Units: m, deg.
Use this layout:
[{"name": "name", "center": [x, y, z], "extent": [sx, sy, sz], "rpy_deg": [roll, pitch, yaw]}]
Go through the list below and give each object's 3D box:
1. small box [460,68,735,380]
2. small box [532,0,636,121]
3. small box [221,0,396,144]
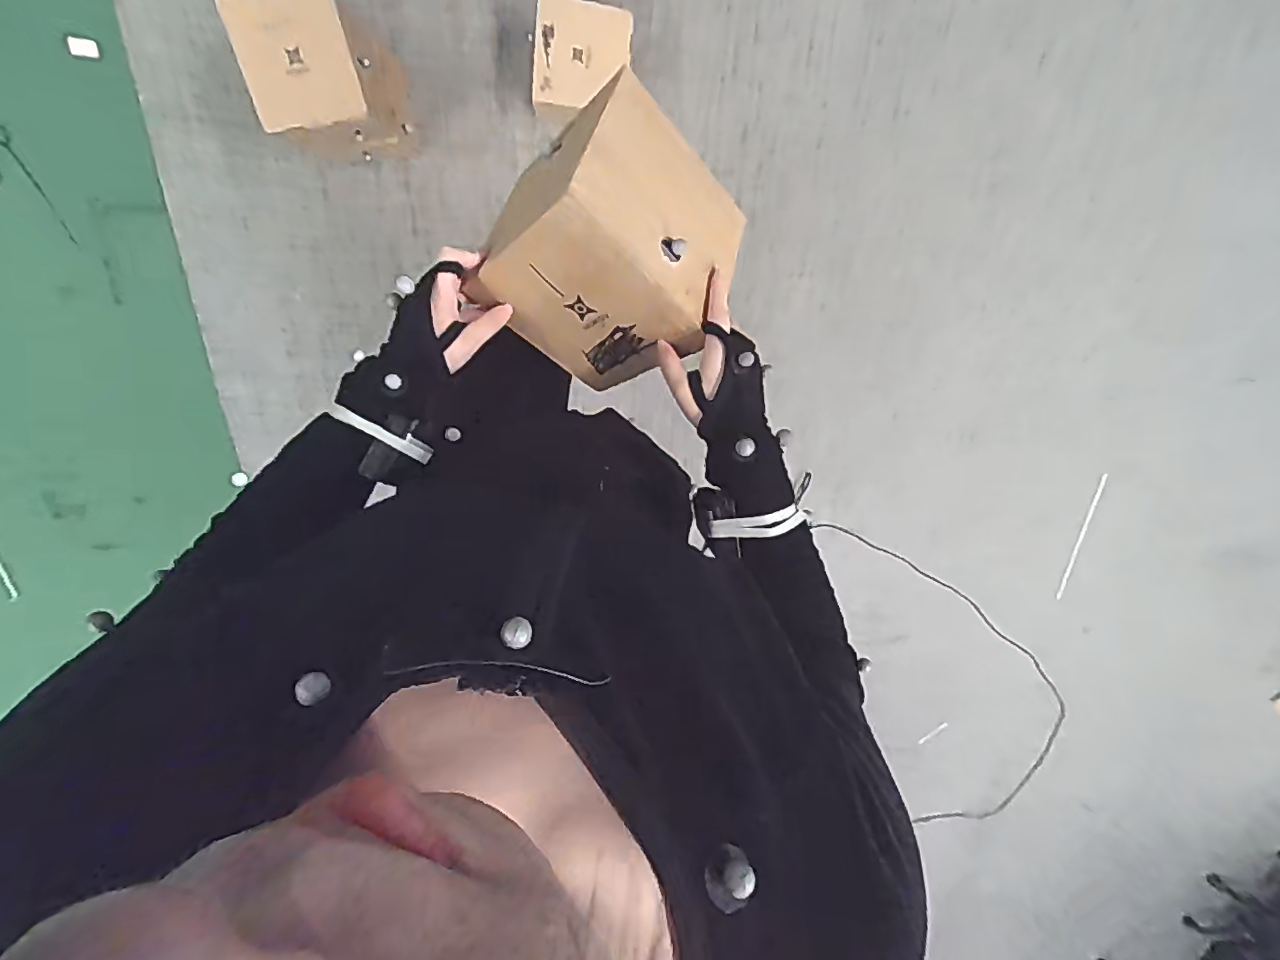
[{"name": "small box", "center": [-0.030, -0.230, 0.517], "extent": [0.168, 0.176, 0.179], "rpy_deg": [-13, 141, 45]}, {"name": "small box", "center": [-0.114, -0.811, 1.069], "extent": [0.179, 0.176, 0.168], "rpy_deg": [6, 112, -10]}, {"name": "small box", "center": [-0.529, -0.673, 0.897], "extent": [0.168, 0.176, 0.179], "rpy_deg": [-10, 114, -3]}]
